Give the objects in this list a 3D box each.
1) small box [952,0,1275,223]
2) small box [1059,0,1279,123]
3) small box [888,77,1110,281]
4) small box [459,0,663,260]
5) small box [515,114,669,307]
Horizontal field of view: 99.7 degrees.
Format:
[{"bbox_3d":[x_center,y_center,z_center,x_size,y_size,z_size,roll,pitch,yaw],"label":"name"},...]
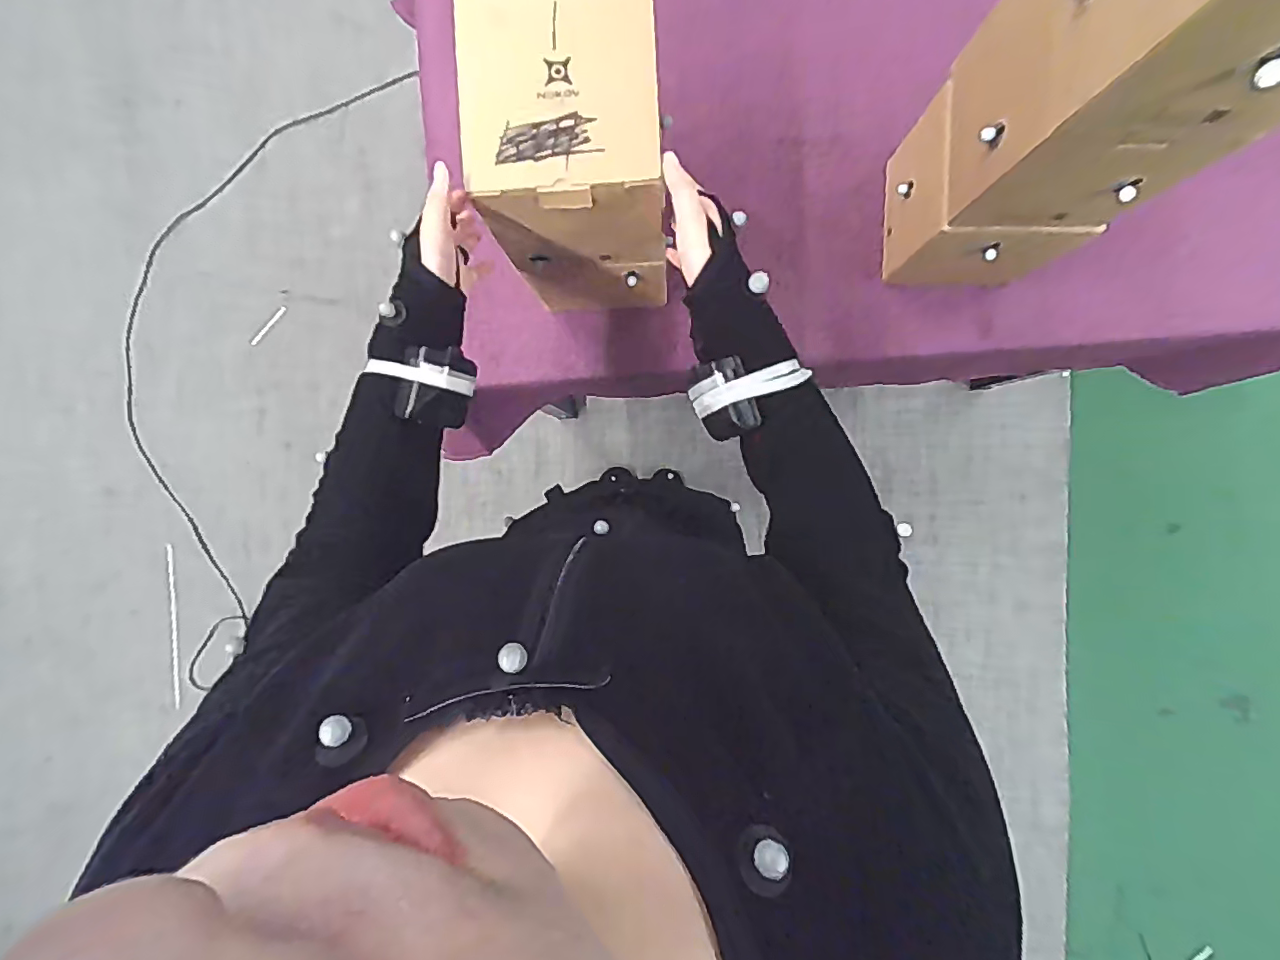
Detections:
[{"bbox_3d":[0.414,-0.357,0.498,0.168,0.176,0.179,3,91,3],"label":"small box"},{"bbox_3d":[0.402,-0.354,0.334,0.168,0.176,0.179,1,92,2],"label":"small box"},{"bbox_3d":[0.423,-0.352,0.660,0.179,0.176,0.168,3,92,3],"label":"small box"},{"bbox_3d":[-0.063,-0.328,0.526,0.168,0.176,0.179,-2,89,2],"label":"small box"},{"bbox_3d":[-0.053,-0.328,0.691,0.179,0.176,0.168,-2,91,3],"label":"small box"}]
